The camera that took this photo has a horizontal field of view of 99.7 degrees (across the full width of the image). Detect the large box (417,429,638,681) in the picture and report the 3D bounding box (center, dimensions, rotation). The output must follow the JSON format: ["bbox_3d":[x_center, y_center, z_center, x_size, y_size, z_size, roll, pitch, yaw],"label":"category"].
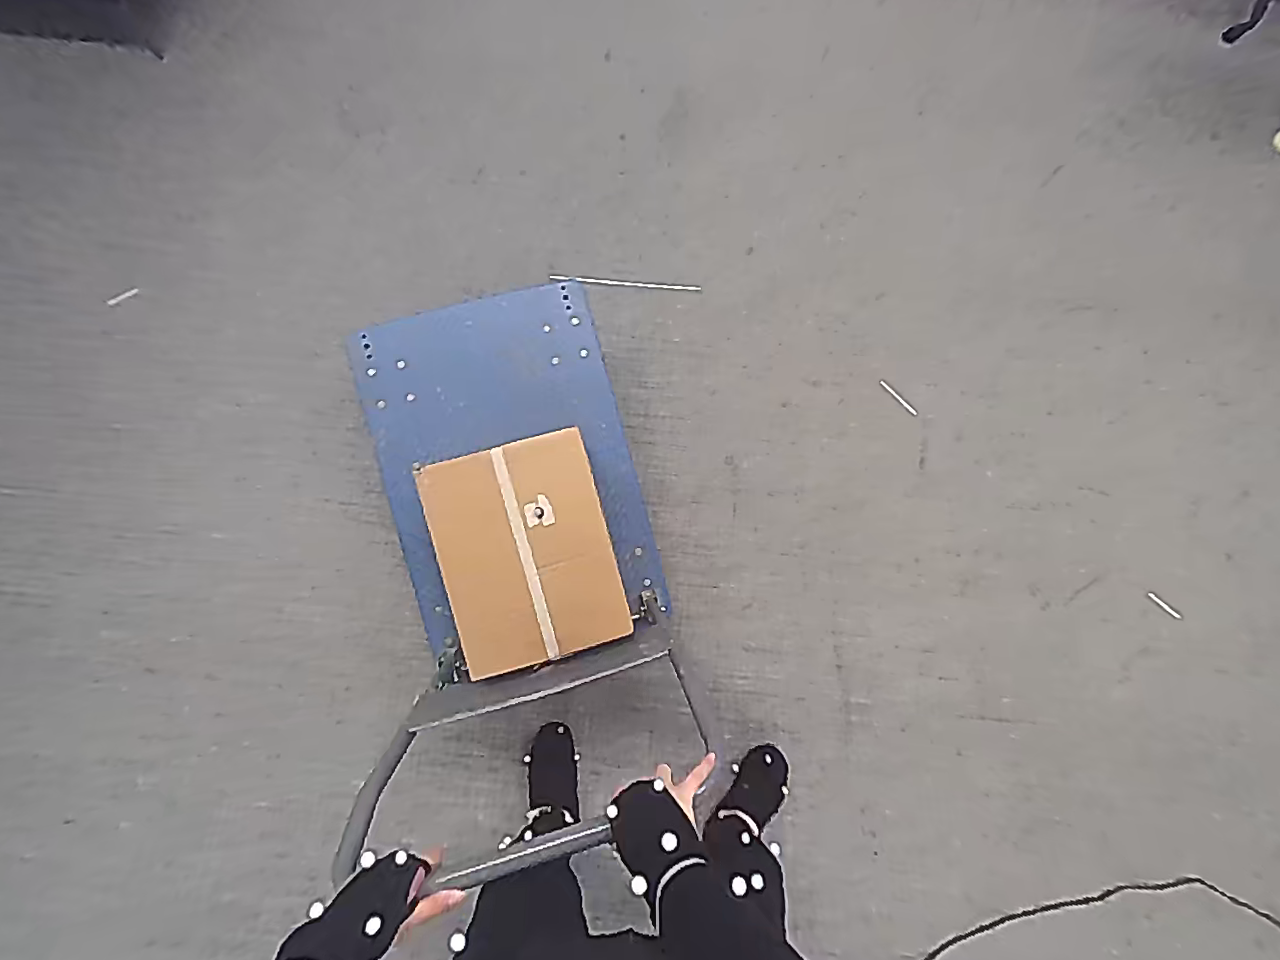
[{"bbox_3d":[-0.213,0.140,1.138,0.320,0.320,0.408,-16,90,-5],"label":"large box"}]
